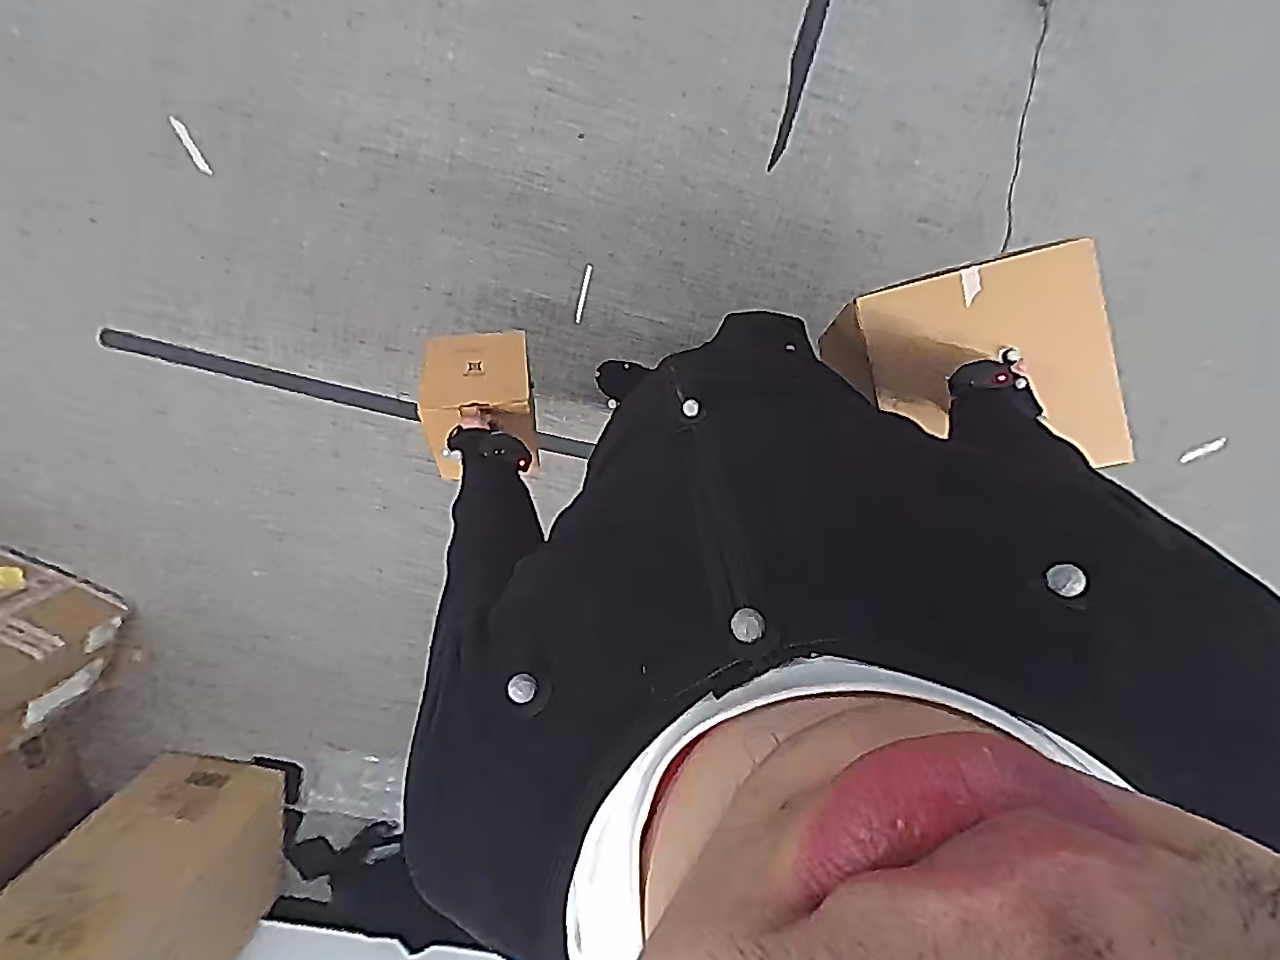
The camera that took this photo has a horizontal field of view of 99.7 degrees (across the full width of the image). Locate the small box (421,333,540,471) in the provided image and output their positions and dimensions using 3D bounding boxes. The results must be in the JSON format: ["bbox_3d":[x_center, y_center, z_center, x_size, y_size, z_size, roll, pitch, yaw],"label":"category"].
[{"bbox_3d":[-0.263,-0.127,0.923,0.168,0.179,0.176,-5,142,-10],"label":"small box"}]
